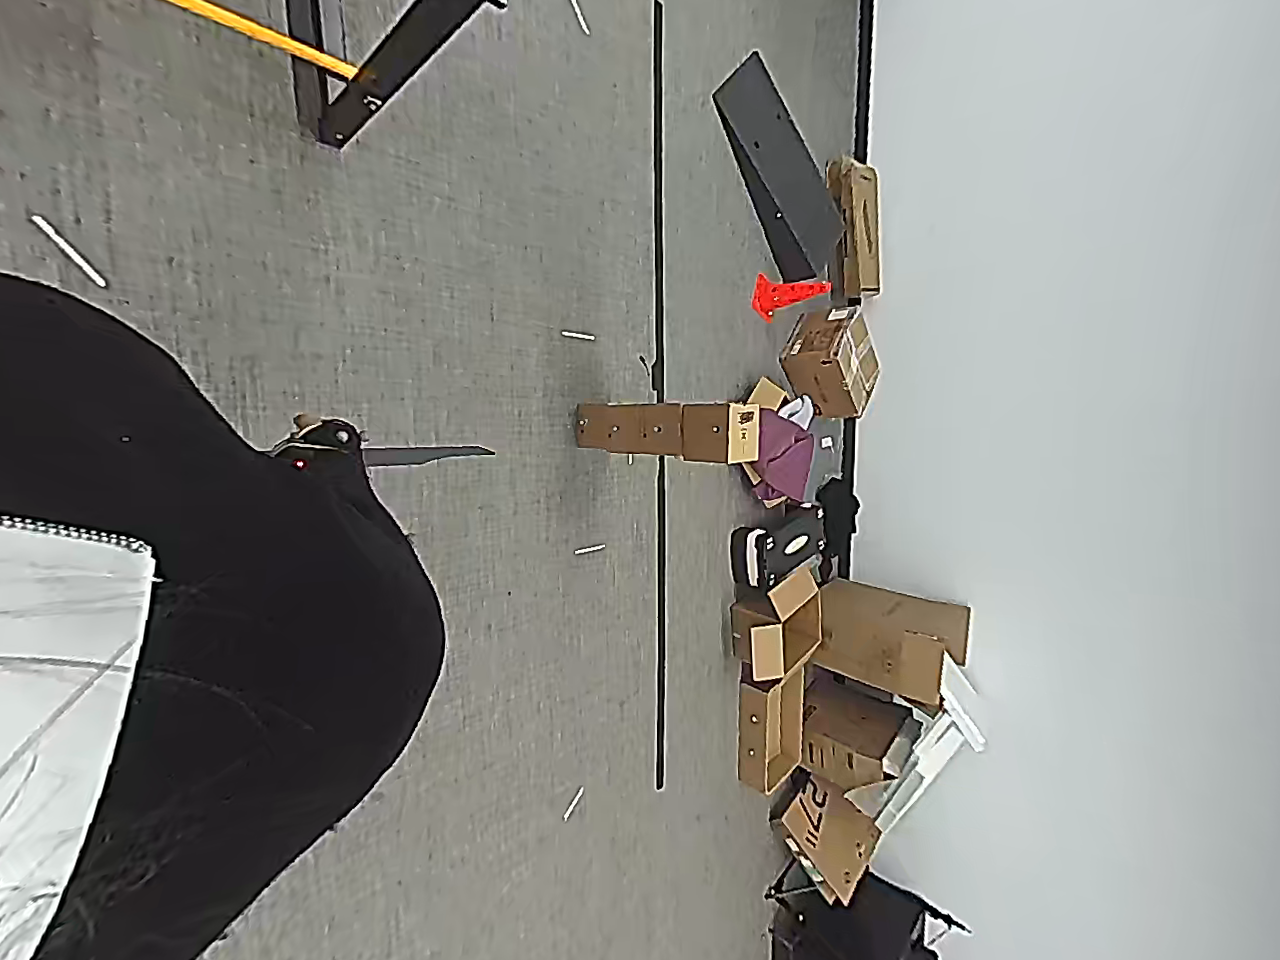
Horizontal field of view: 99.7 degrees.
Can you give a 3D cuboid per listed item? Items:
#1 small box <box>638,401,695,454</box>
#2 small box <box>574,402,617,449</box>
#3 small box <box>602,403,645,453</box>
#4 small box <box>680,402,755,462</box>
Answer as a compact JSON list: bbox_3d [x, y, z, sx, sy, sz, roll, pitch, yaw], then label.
[{"bbox_3d":[0.108,-0.168,1.761,0.179,0.176,0.168,-5,98,-46],"label":"small box"},{"bbox_3d":[-0.125,-0.202,1.990,0.179,0.176,0.168,-7,99,-45],"label":"small box"},{"bbox_3d":[-0.010,-0.180,1.873,0.179,0.176,0.168,-6,98,-47],"label":"small box"},{"bbox_3d":[0.236,-0.148,1.657,0.168,0.176,0.179,-7,100,-47],"label":"small box"}]
